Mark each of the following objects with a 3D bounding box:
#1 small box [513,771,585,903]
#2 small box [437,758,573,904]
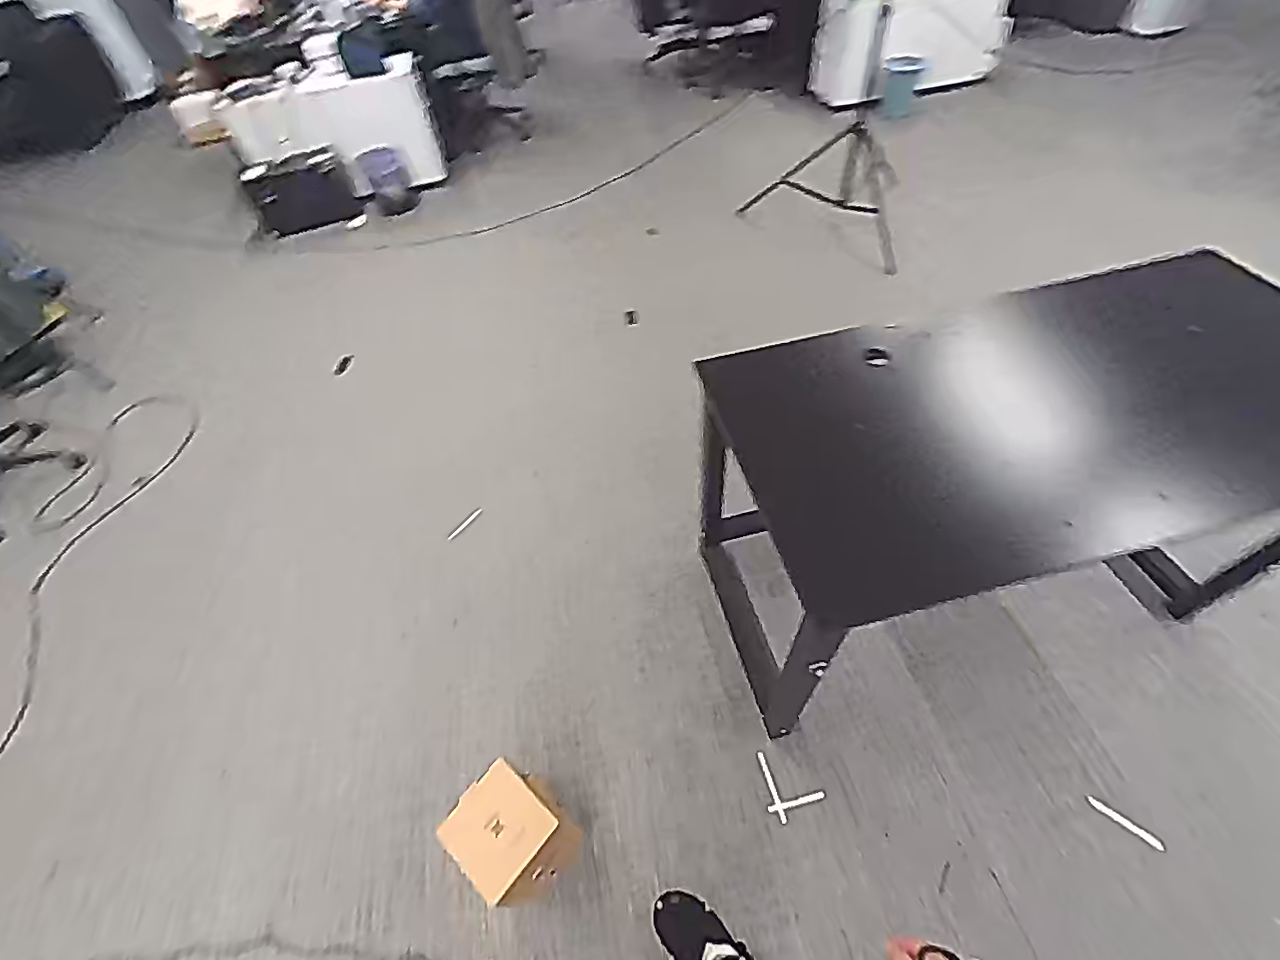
[{"bbox_3d":[-0.242,0.786,1.194,0.179,0.176,0.168,36,63,29],"label":"small box"},{"bbox_3d":[-0.257,0.689,1.064,0.179,0.176,0.168,32,63,25],"label":"small box"}]
